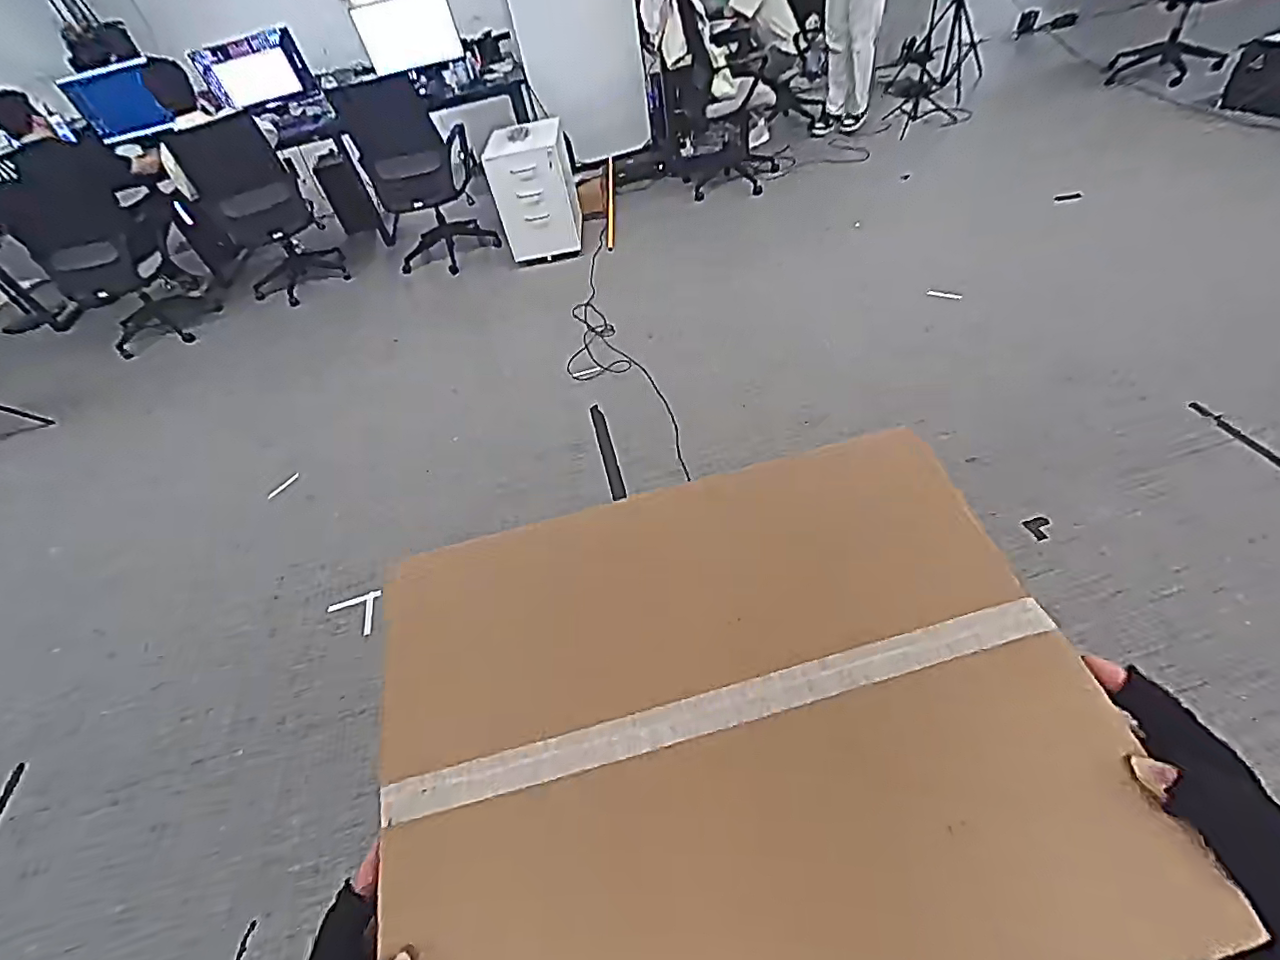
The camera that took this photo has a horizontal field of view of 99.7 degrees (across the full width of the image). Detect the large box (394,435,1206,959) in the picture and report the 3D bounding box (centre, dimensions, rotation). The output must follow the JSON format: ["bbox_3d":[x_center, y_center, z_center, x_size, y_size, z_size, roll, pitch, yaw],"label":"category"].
[{"bbox_3d":[0.065,0.218,0.453,0.408,0.320,0.320,-16,56,-3],"label":"large box"}]
